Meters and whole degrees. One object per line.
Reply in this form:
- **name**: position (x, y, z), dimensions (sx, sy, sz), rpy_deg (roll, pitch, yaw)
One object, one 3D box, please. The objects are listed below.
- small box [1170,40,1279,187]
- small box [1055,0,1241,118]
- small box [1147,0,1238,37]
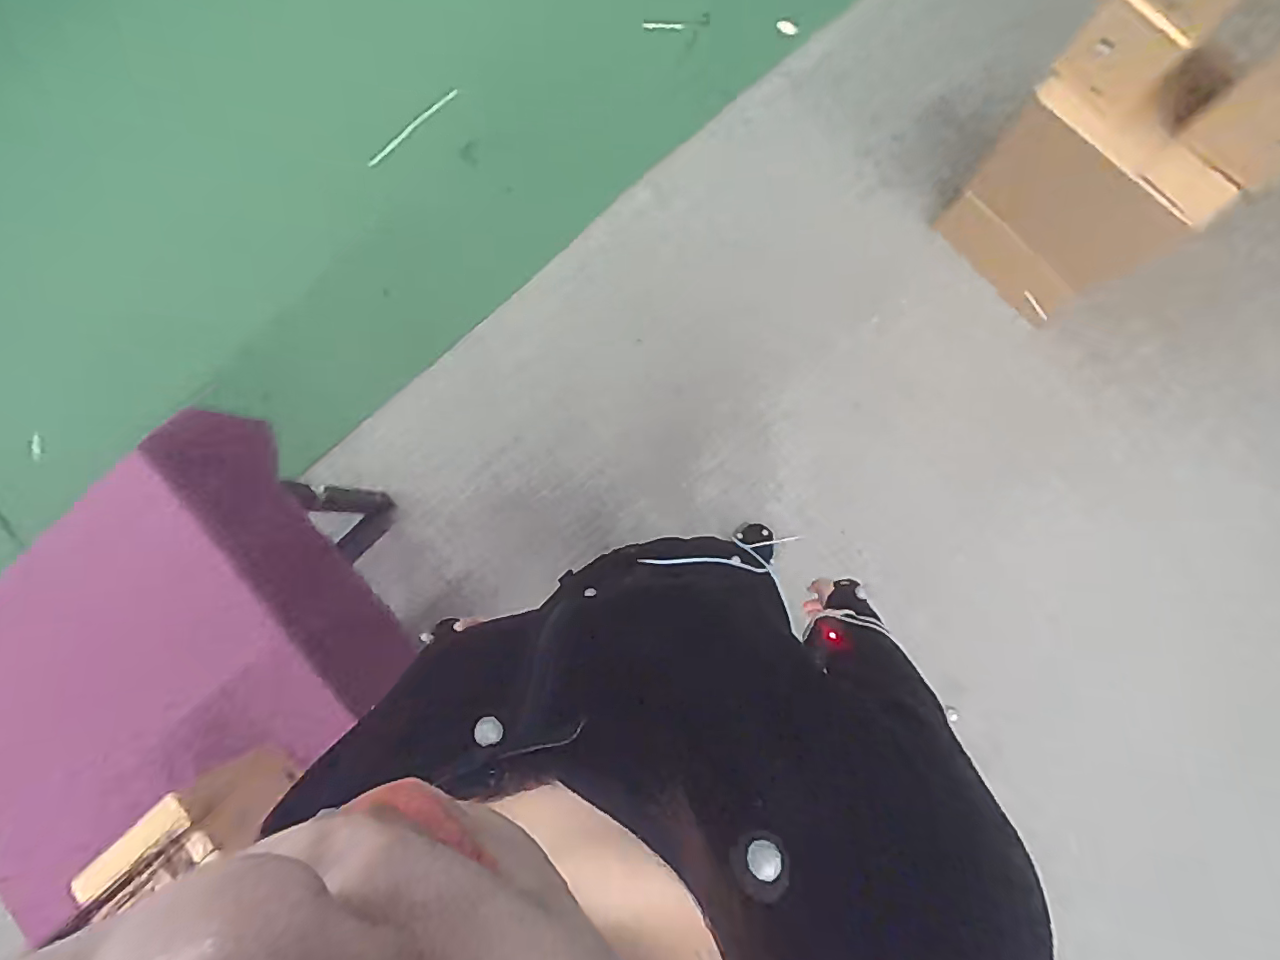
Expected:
- **small box**: position (1.128, -0.659, 0.955), dimensions (0.168, 0.176, 0.179), rpy_deg (-42, 81, -1)
- **small box**: position (0.914, -0.821, 0.987), dimensions (0.179, 0.176, 0.168), rpy_deg (-40, 84, 0)
- **small box**: position (0.911, -0.844, 0.823), dimensions (0.179, 0.176, 0.168), rpy_deg (-38, 84, 0)
